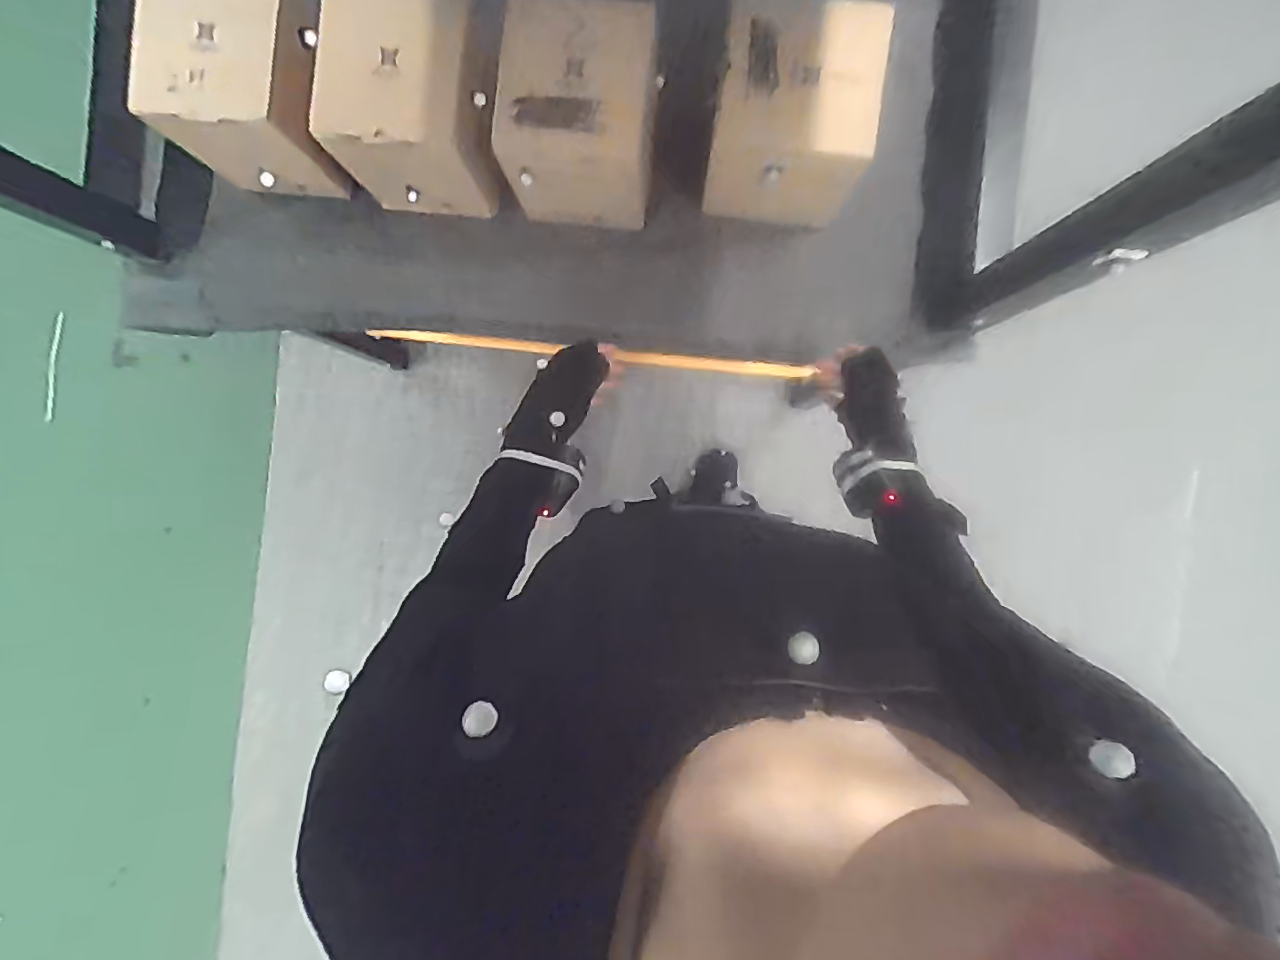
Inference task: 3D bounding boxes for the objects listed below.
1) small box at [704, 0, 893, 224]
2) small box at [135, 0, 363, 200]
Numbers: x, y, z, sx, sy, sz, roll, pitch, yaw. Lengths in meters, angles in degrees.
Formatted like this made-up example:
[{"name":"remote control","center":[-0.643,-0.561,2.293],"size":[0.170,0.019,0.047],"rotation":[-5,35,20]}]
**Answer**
[{"name":"small box","center":[0.180,-0.440,0.668],"size":[0.179,0.176,0.168],"rotation":[8,91,1]},{"name":"small box","center":[-0.480,-0.493,0.691],"size":[0.168,0.176,0.179],"rotation":[6,90,3]}]
